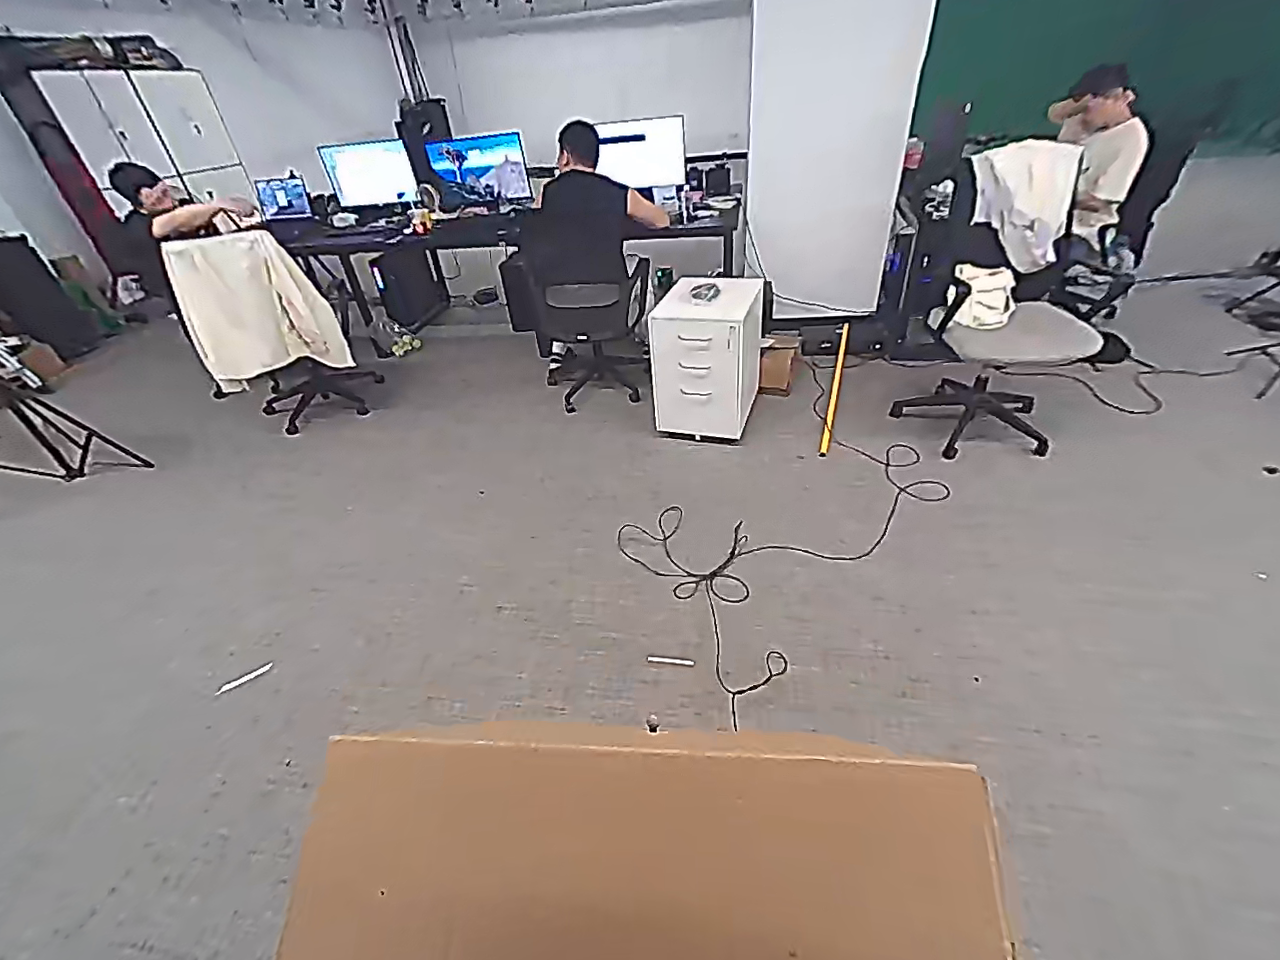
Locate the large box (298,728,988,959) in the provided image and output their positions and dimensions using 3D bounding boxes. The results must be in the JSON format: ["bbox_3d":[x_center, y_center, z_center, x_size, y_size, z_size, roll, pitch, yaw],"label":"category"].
[{"bbox_3d":[0.007,0.376,0.428,0.408,0.320,0.320,-1,68,6],"label":"large box"}]
